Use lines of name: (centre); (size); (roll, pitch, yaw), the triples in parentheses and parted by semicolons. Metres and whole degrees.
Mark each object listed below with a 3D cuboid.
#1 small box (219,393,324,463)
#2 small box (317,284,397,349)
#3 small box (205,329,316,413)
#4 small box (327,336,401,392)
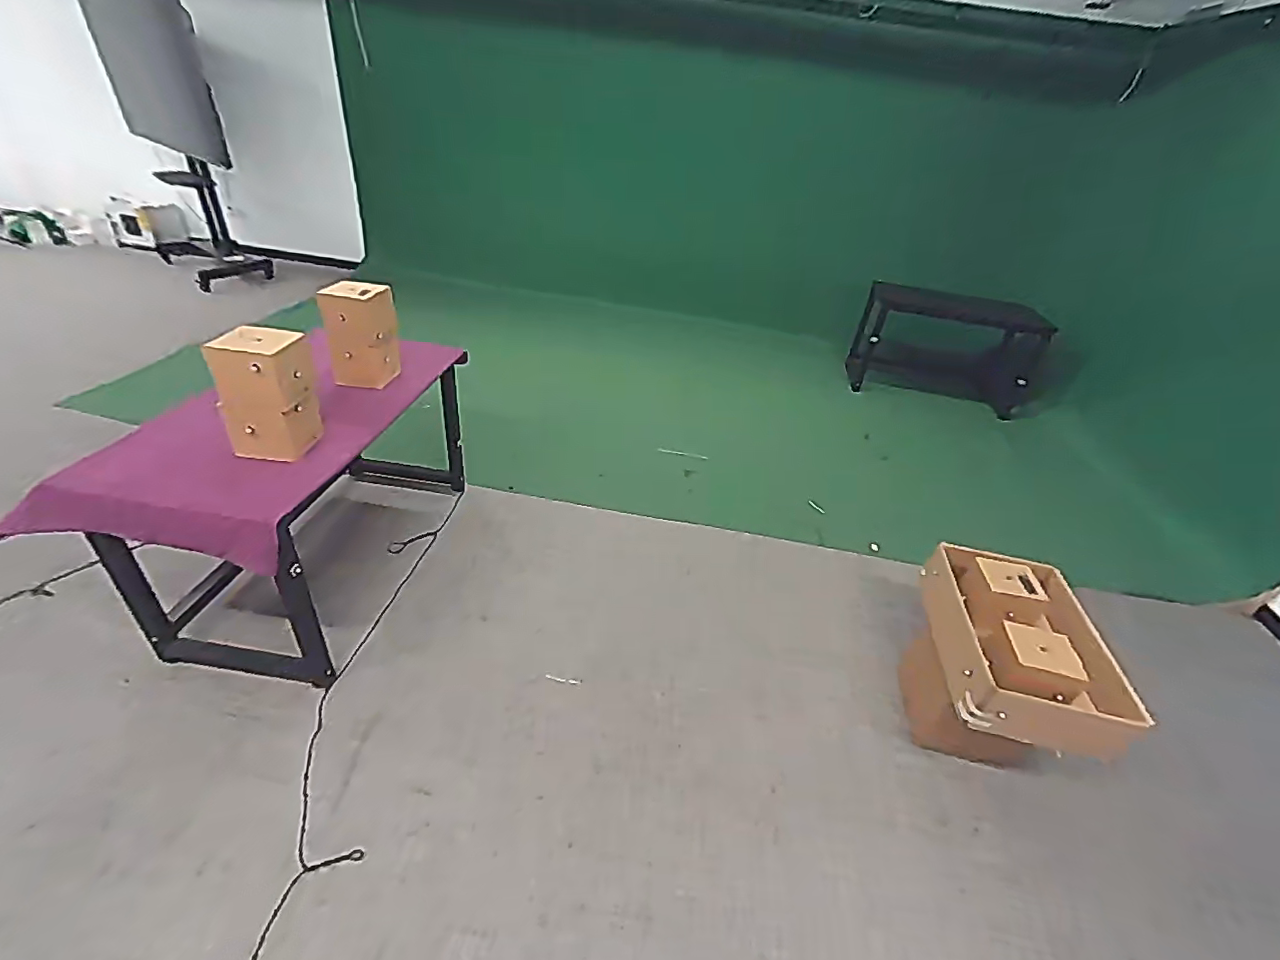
small box: (-1.066, -0.164, 1.580); (0.179, 0.176, 0.168); (6, 35, -2)
small box: (-0.982, -0.572, 1.896); (0.179, 0.176, 0.168); (8, 35, 5)
small box: (-1.029, -0.298, 1.487); (0.179, 0.176, 0.168); (7, 34, -2)
small box: (-1.007, -0.440, 1.991); (0.179, 0.176, 0.168); (7, 35, 1)
